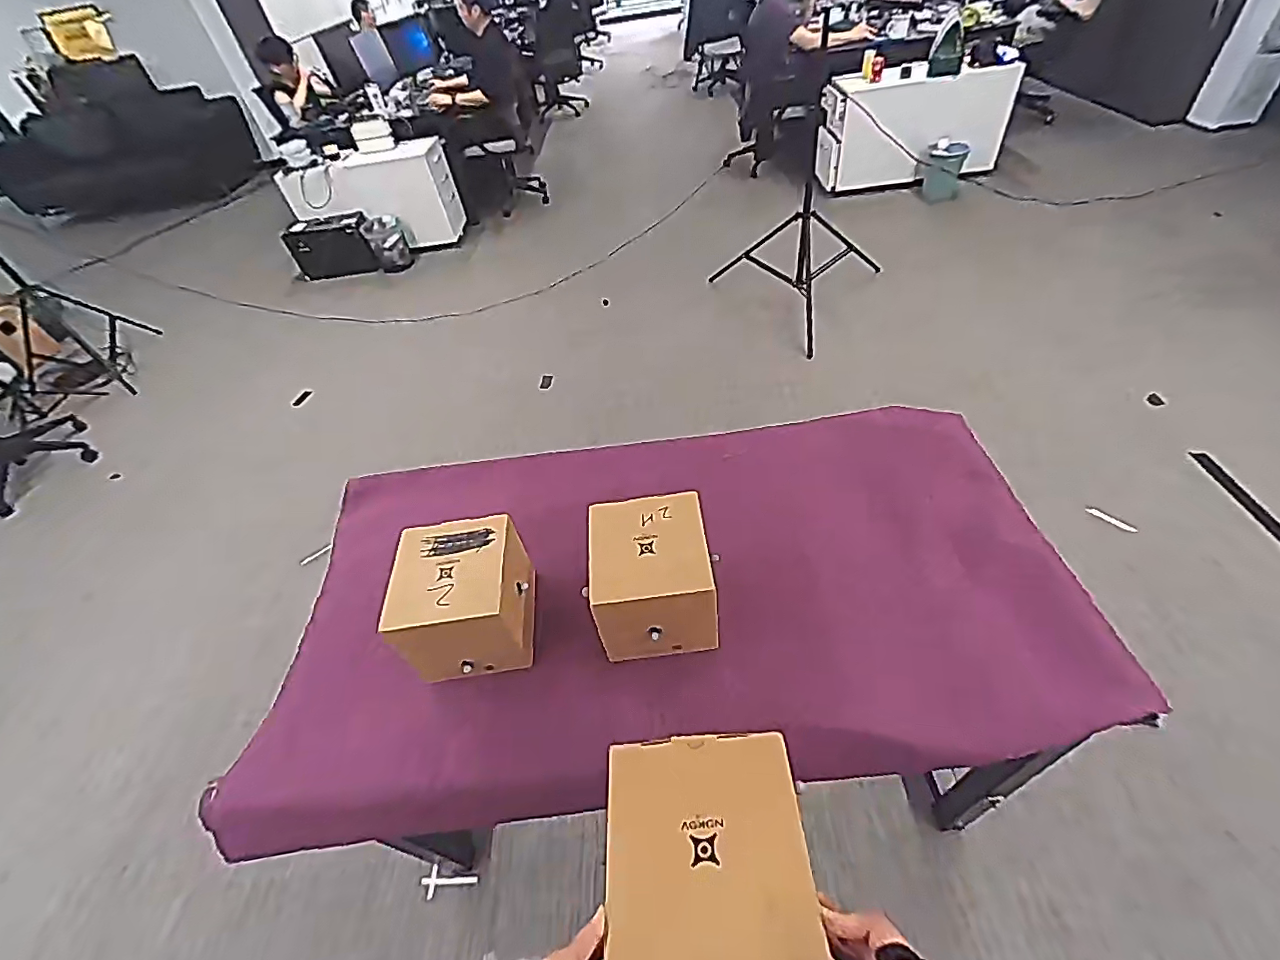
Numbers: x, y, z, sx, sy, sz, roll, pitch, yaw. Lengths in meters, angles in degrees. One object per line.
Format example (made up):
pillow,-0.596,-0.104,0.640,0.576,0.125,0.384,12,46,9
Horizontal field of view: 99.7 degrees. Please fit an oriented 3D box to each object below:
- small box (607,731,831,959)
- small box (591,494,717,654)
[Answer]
small box,0.067,0.362,0.498,0.168,0.176,0.179,-7,38,4
small box,0.022,0.147,0.814,0.168,0.176,0.179,-7,46,2
